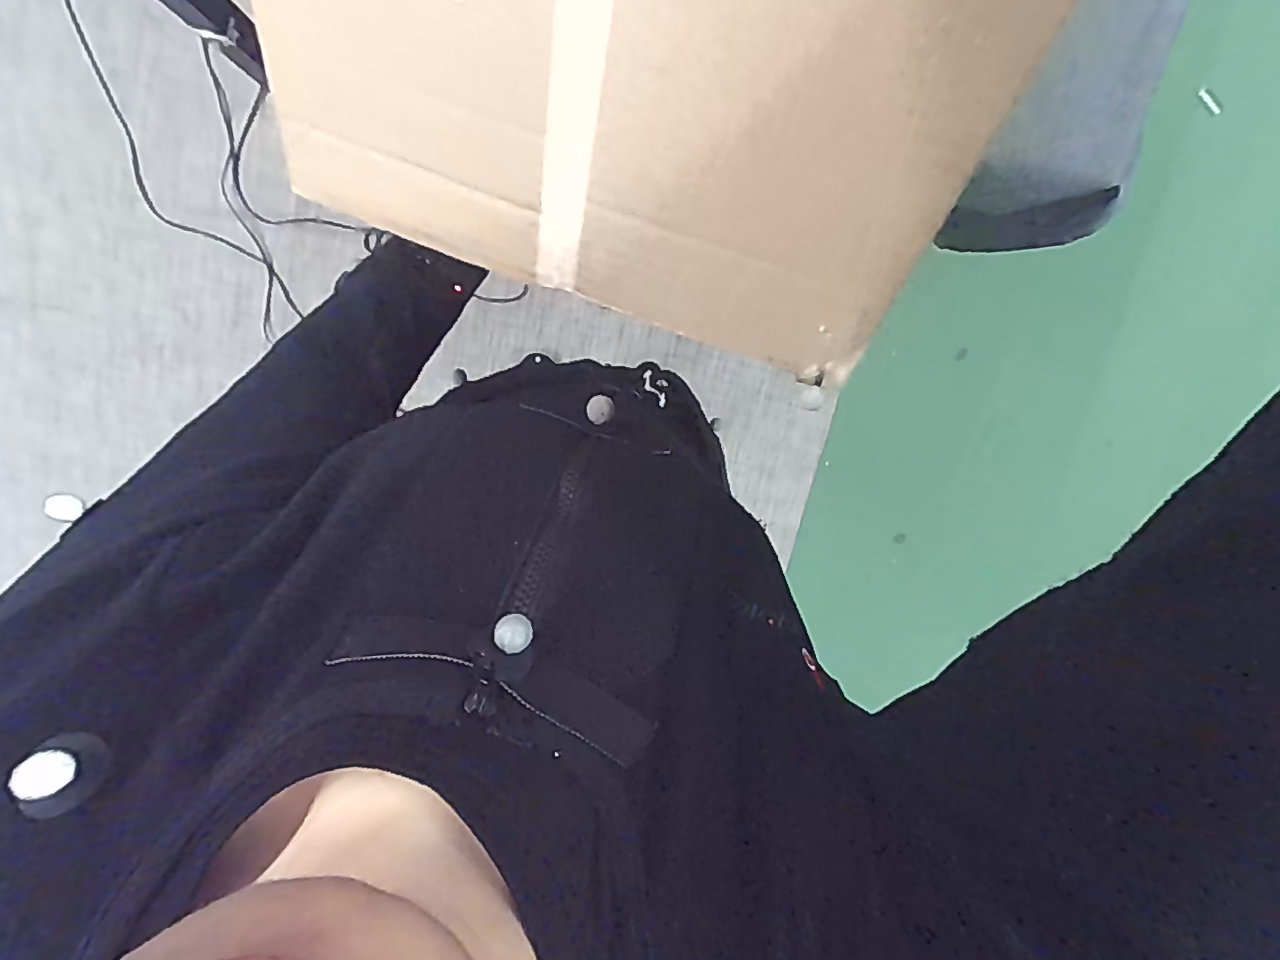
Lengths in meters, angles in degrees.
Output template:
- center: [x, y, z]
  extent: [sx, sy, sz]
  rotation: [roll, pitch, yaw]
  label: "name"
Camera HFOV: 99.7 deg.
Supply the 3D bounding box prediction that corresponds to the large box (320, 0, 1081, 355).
- center: [0.057, -0.348, 0.263]
  extent: [0.320, 0.320, 0.408]
  rotation: [20, 136, 3]
  label: "large box"
